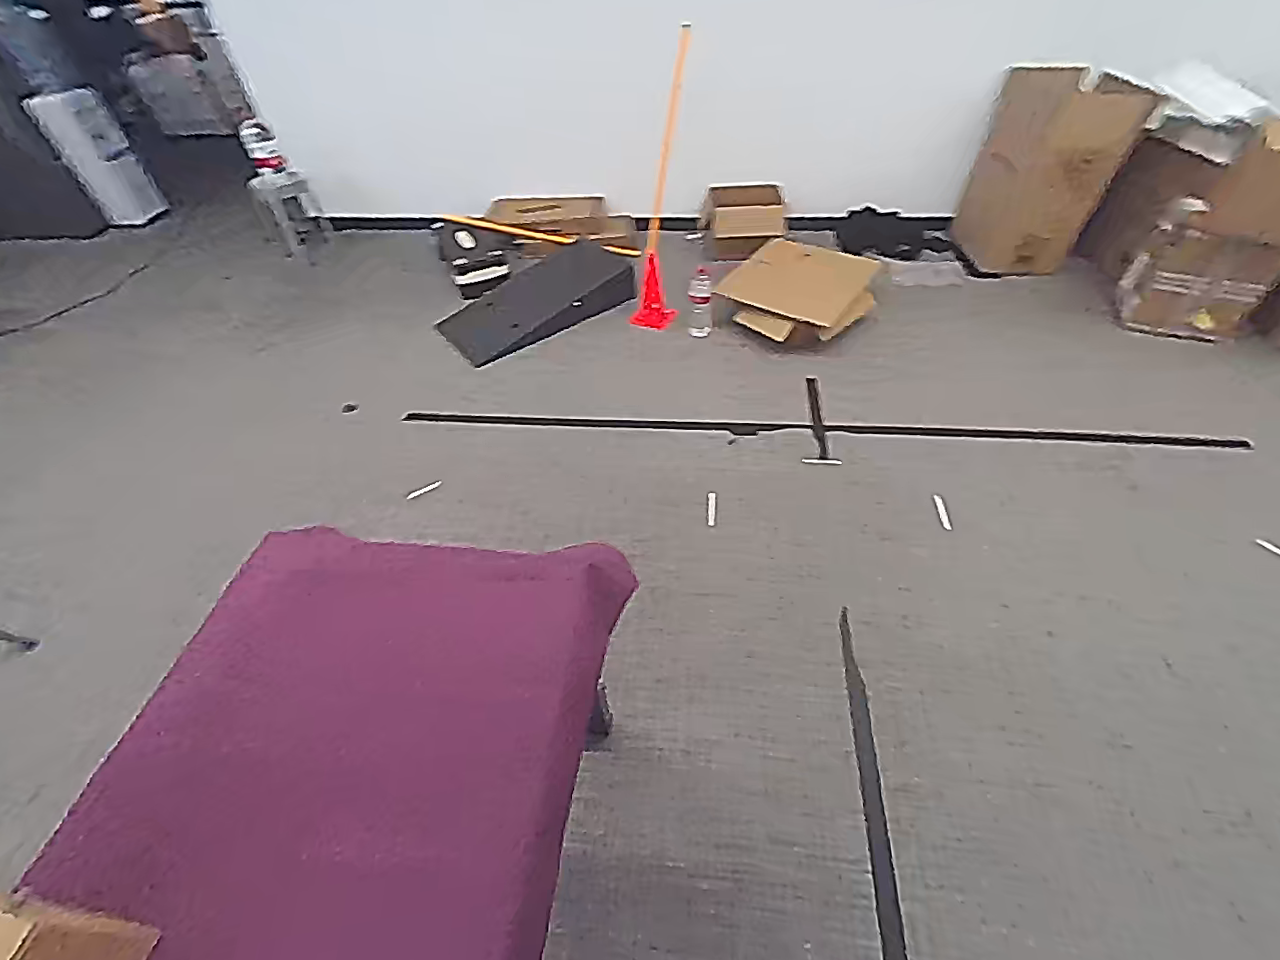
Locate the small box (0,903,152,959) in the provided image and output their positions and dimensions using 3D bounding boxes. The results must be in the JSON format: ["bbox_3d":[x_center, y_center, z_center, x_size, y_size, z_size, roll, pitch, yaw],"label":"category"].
[{"bbox_3d":[-0.638,0.515,0.509,0.179,0.176,0.168,6,47,8],"label":"small box"}]
